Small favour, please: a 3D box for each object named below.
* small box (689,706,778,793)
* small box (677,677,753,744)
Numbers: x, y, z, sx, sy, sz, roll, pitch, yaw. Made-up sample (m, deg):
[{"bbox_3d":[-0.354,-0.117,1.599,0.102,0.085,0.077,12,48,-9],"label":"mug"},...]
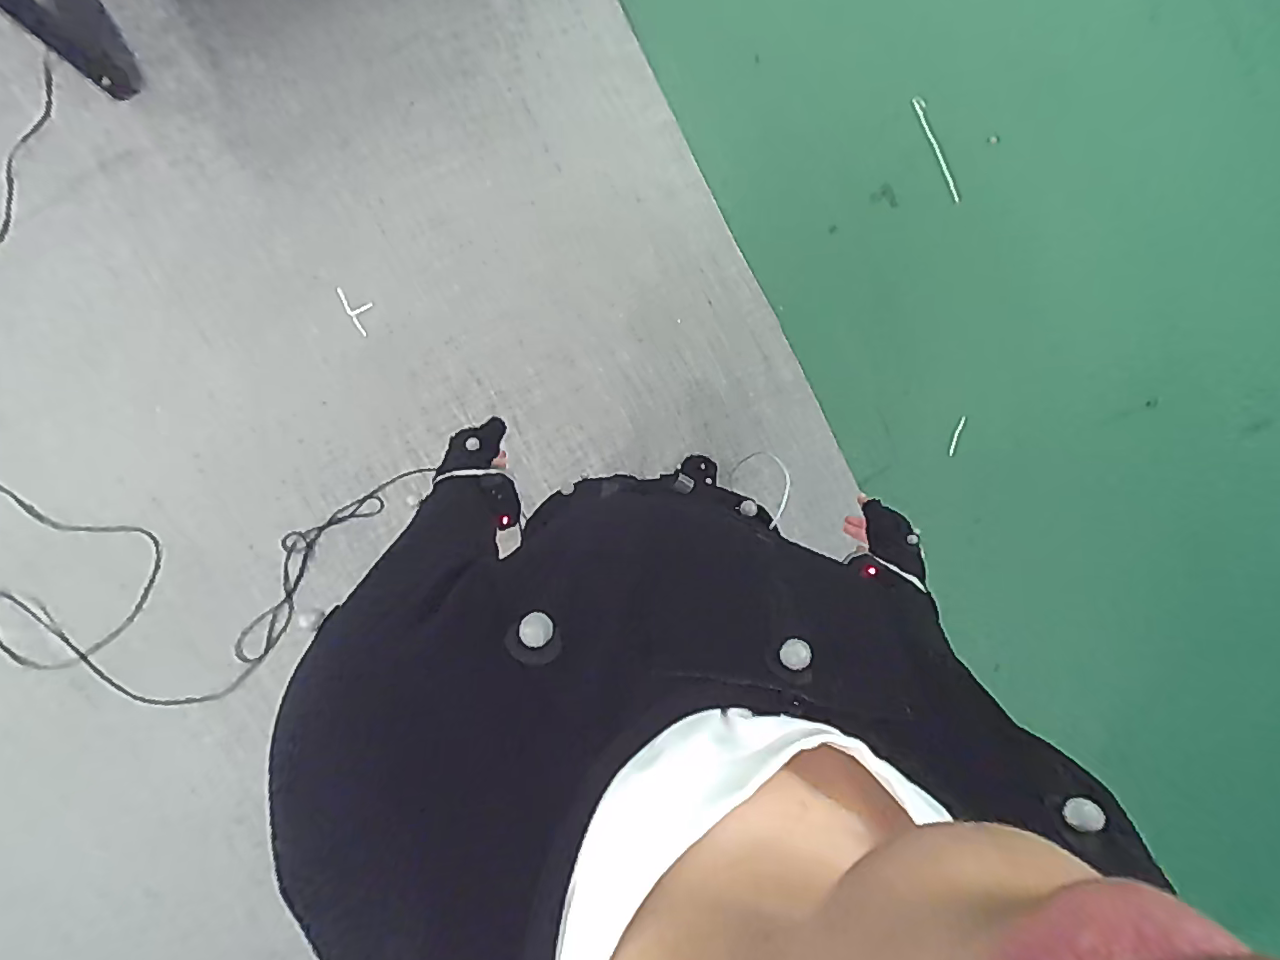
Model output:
[{"bbox_3d":[0.236,0.665,1.244,0.168,0.176,0.179,-34,97,-3],"label":"small box"},{"bbox_3d":[0.217,0.651,1.406,0.168,0.176,0.179,-33,97,-4],"label":"small box"}]
